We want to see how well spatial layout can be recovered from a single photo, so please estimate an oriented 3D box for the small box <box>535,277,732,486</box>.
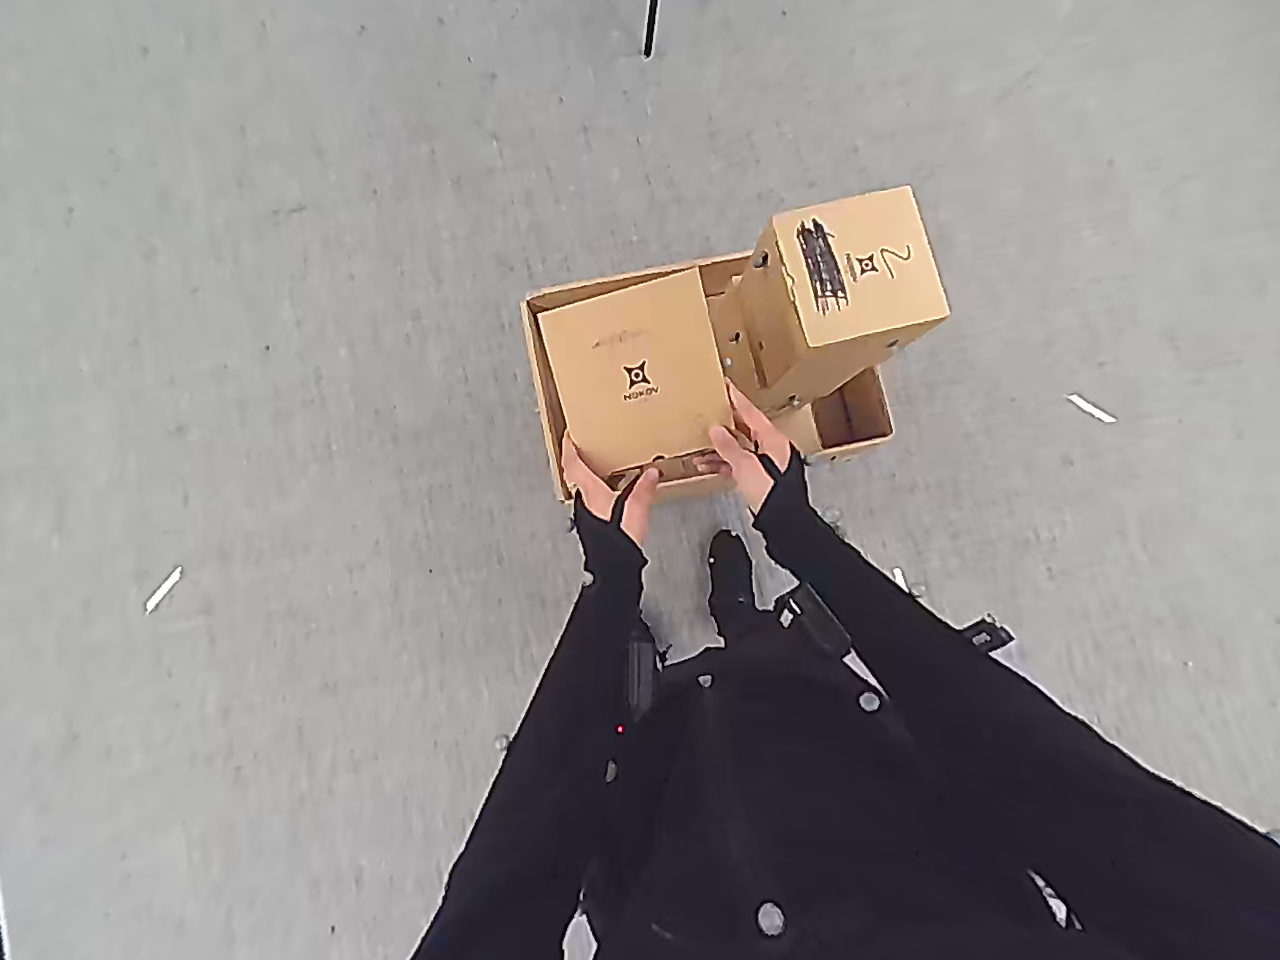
[{"bbox_3d":[0.001,-0.107,0.612,0.168,0.176,0.179,-14,98,6],"label":"small box"}]
